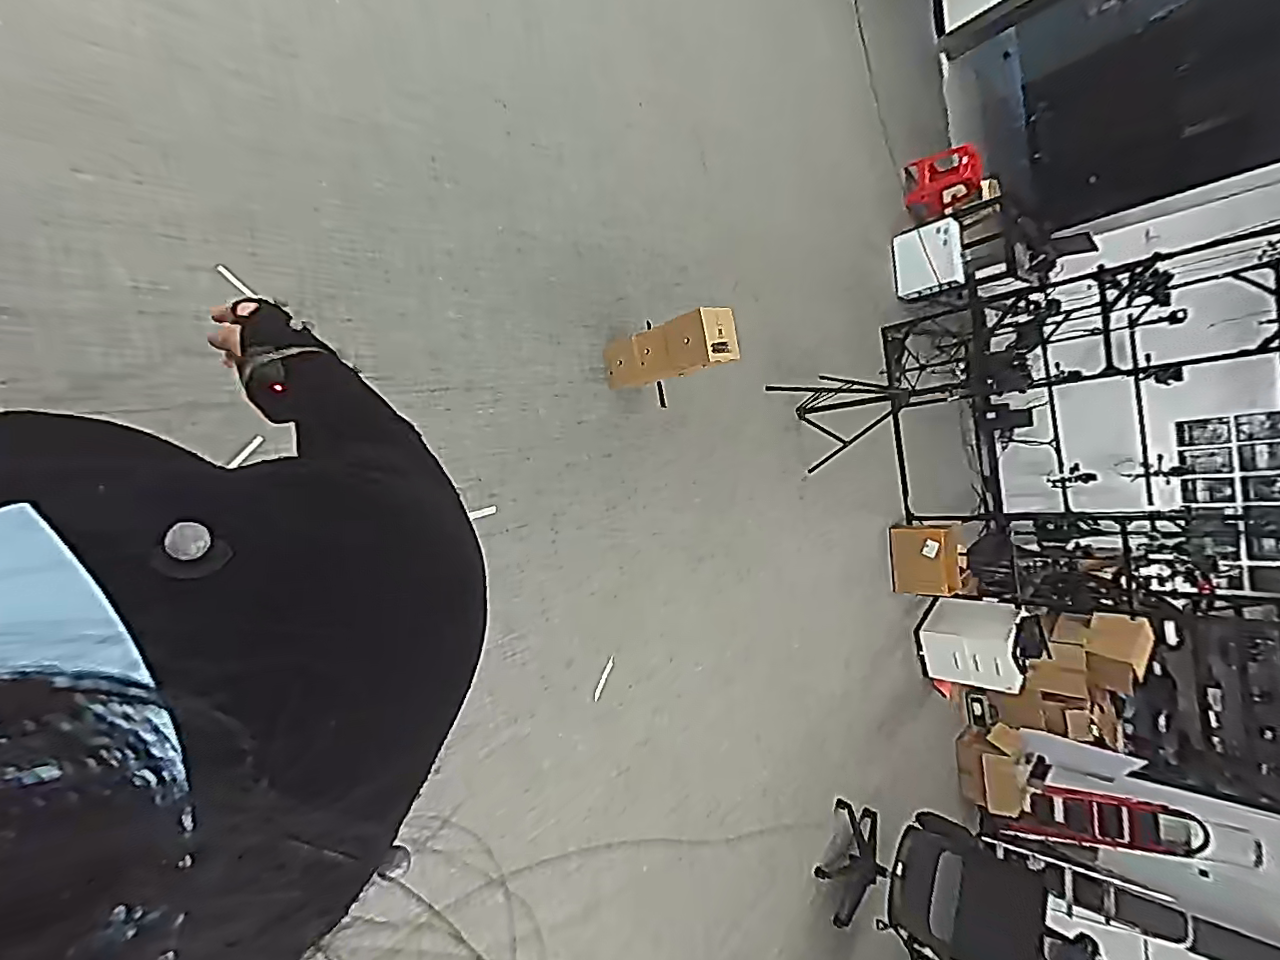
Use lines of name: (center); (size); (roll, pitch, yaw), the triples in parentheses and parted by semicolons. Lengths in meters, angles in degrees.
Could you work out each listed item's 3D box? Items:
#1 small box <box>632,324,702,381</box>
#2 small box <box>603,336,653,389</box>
small box: (0.097, -0.455, 1.946); (0.179, 0.176, 0.168); (-13, 95, -43)
small box: (-0.023, -0.447, 2.056); (0.179, 0.176, 0.168); (-16, 98, -44)
